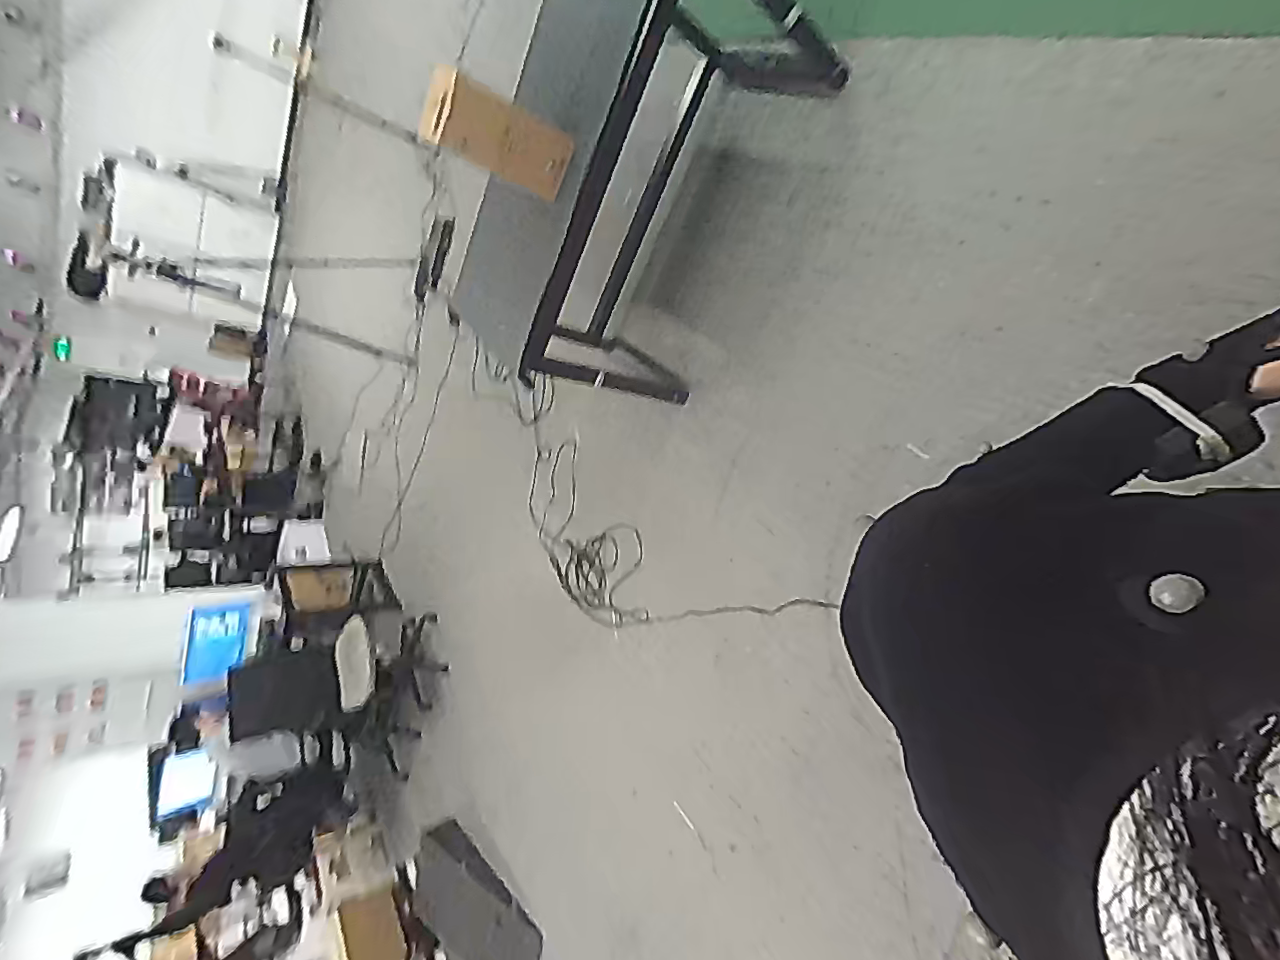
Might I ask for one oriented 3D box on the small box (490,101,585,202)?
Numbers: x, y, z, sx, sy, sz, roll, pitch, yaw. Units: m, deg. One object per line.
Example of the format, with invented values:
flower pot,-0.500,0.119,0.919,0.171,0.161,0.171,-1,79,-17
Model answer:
small box,-0.280,-0.887,1.471,0.179,0.176,0.168,50,122,38
